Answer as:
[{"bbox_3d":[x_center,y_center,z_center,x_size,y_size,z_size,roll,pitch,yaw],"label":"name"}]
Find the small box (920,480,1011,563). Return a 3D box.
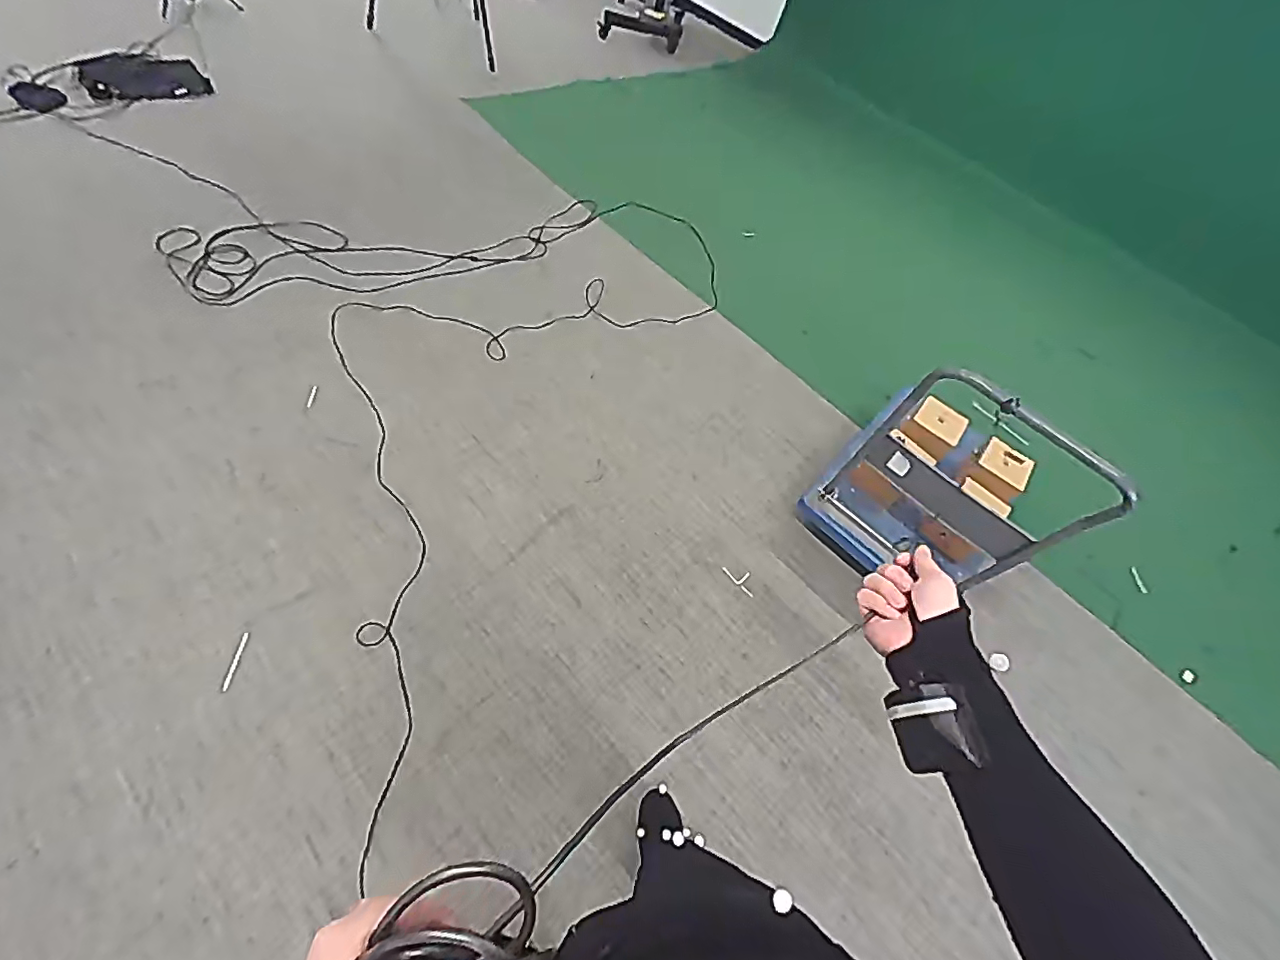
[{"bbox_3d":[1.063,0.139,1.778,0.168,0.176,0.179,43,59,16],"label":"small box"}]

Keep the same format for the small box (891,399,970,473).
[{"bbox_3d":[1.054,-0.157,1.976,0.168,0.176,0.179,40,57,13],"label":"small box"}]

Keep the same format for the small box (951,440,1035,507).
[{"bbox_3d":[1.246,-0.003,1.918,0.168,0.176,0.179,39,57,14],"label":"small box"}]
